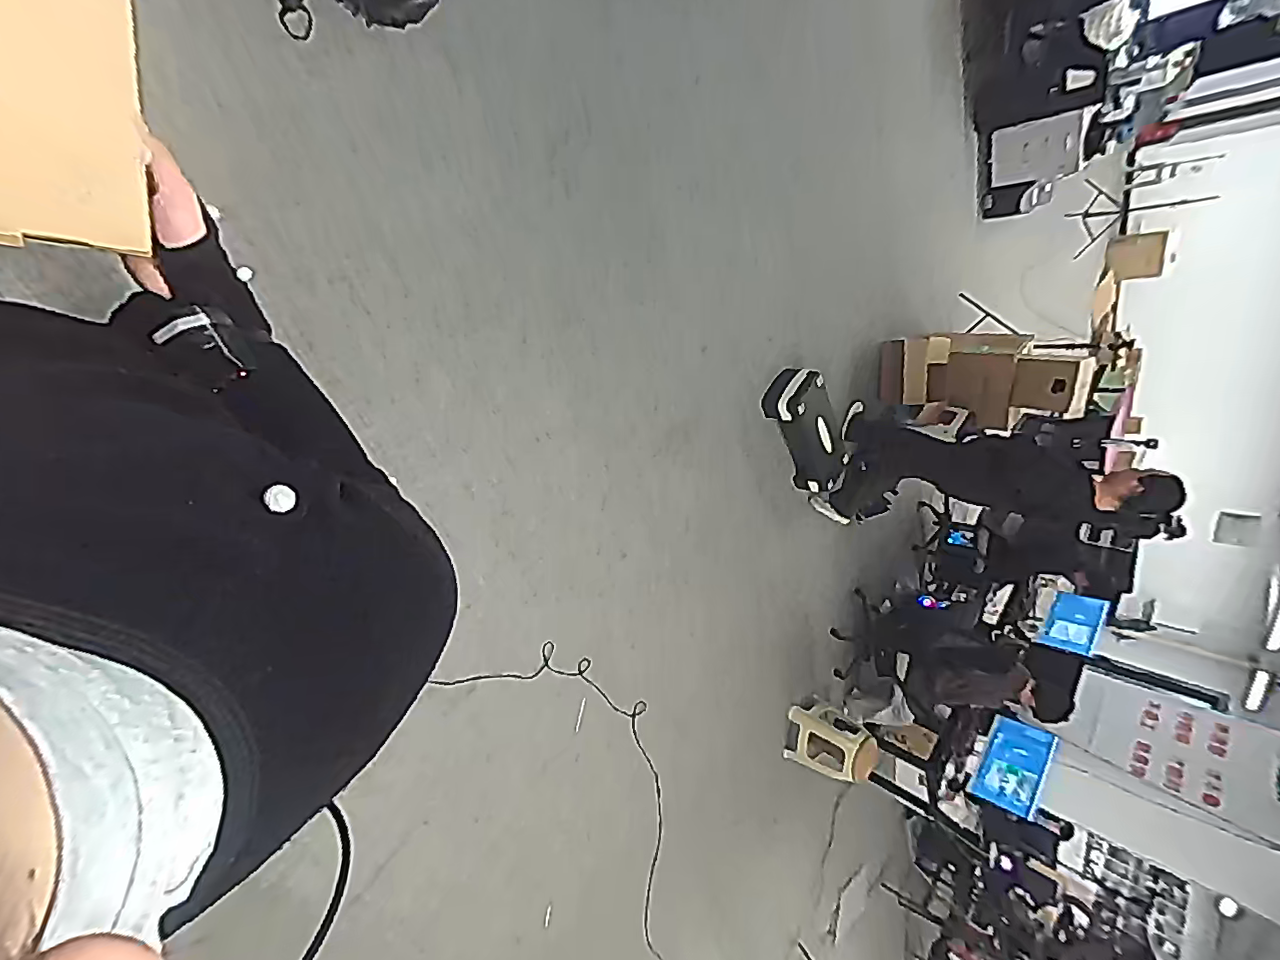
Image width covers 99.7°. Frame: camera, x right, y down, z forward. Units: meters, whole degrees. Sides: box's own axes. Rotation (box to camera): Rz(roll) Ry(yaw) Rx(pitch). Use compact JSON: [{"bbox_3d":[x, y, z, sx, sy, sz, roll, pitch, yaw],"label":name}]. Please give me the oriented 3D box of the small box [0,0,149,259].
[{"bbox_3d":[-0.426,-0.246,0.328,0.168,0.176,0.179,-10,115,-49],"label":"small box"}]
